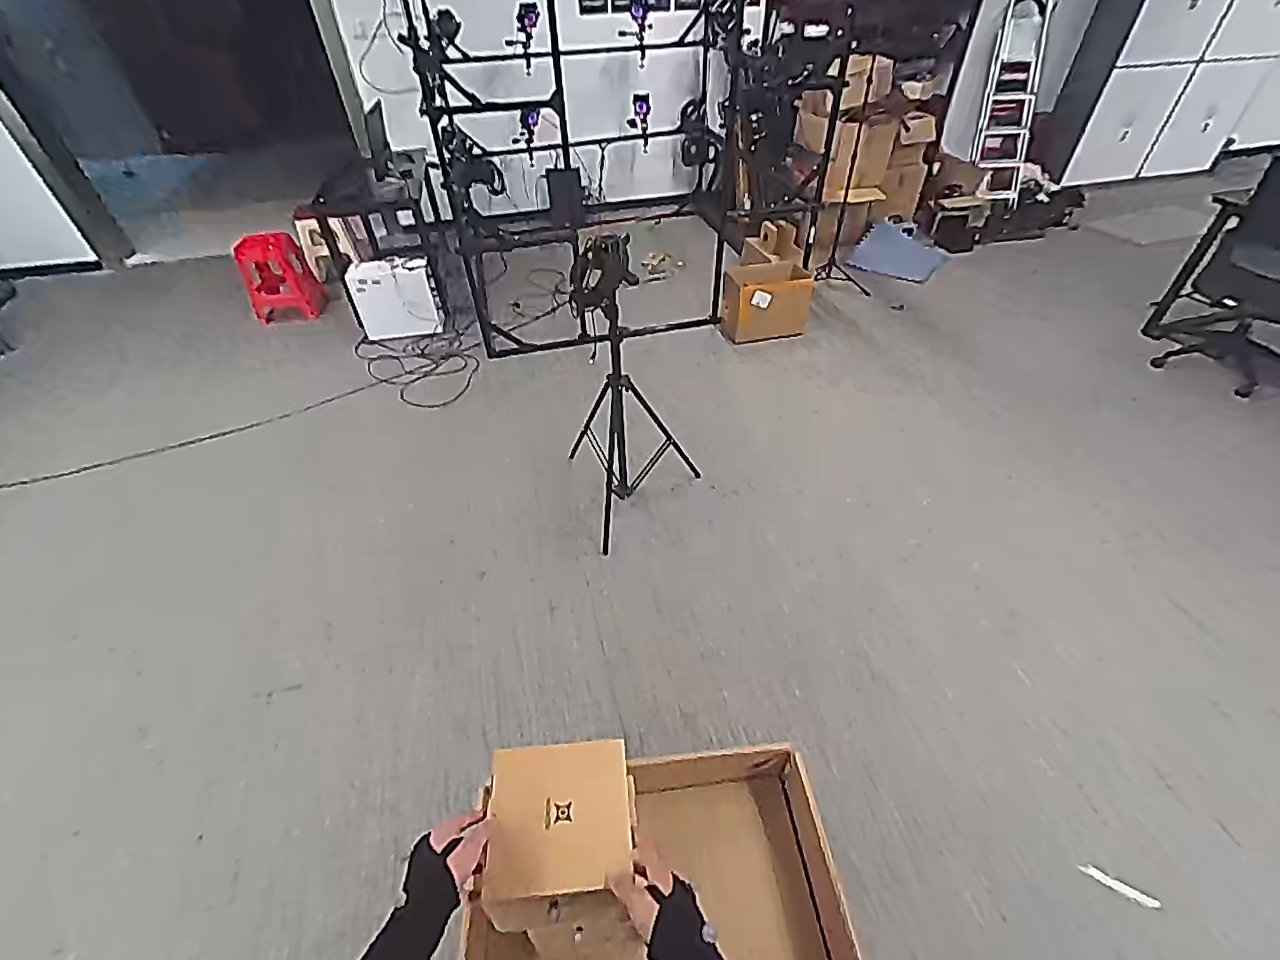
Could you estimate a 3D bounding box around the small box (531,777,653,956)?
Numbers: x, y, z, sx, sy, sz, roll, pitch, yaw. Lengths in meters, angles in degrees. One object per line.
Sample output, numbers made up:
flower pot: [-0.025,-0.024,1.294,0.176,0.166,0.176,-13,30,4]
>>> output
small box: [-0.076,0.588,0.825,0.168,0.176,0.179,-5,42,-7]

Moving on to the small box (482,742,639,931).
small box: [-0.098,0.469,0.713,0.179,0.176,0.168,-3,42,-5]
